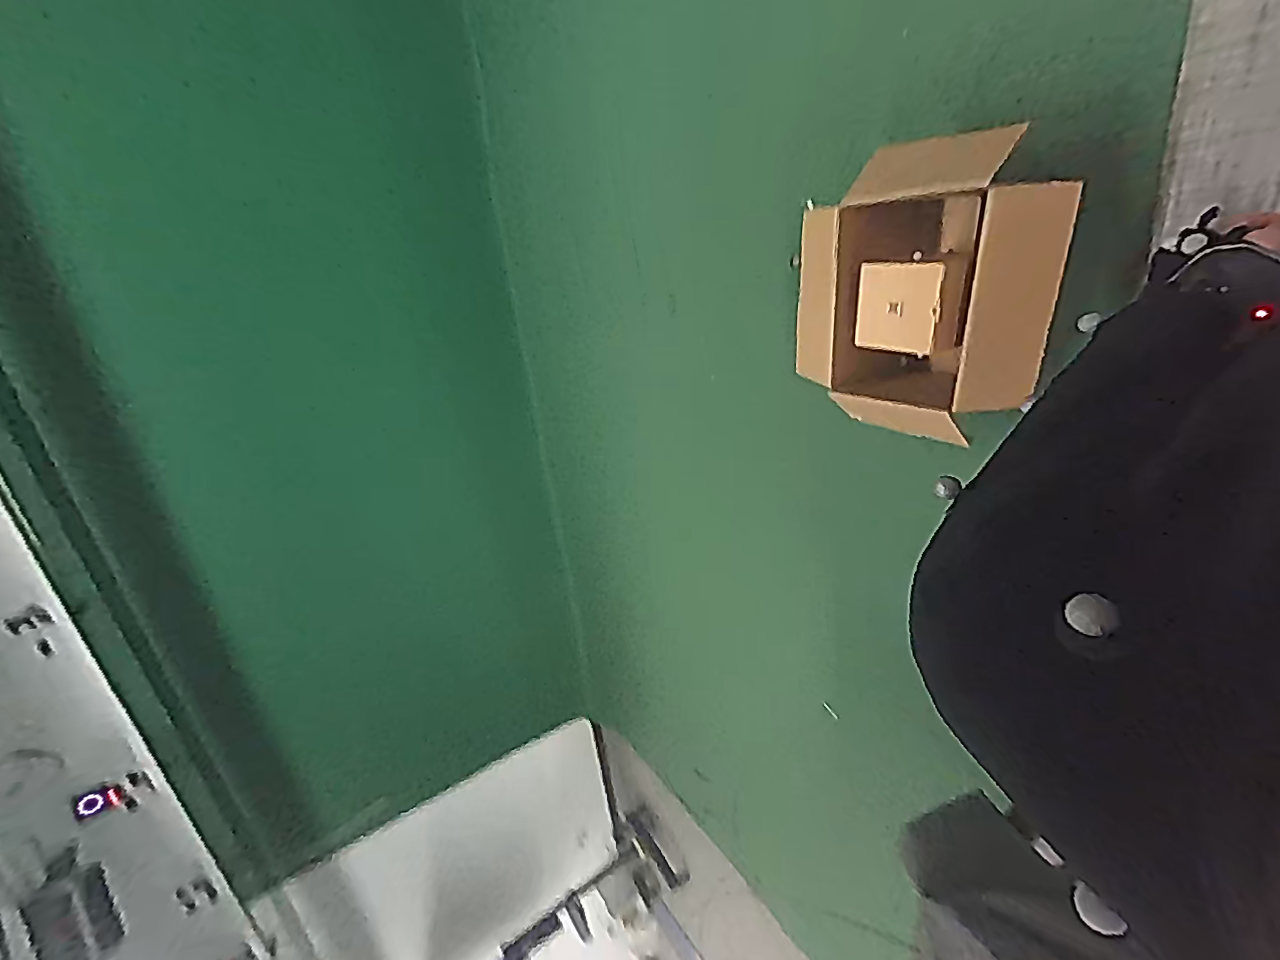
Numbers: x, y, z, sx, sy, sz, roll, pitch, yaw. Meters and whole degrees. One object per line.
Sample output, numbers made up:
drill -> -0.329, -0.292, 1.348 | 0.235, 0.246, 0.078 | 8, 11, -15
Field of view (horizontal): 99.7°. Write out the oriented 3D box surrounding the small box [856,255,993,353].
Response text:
small box -> 0.575, -0.364, 1.104 | 0.179, 0.176, 0.168 | 28, 130, 51
